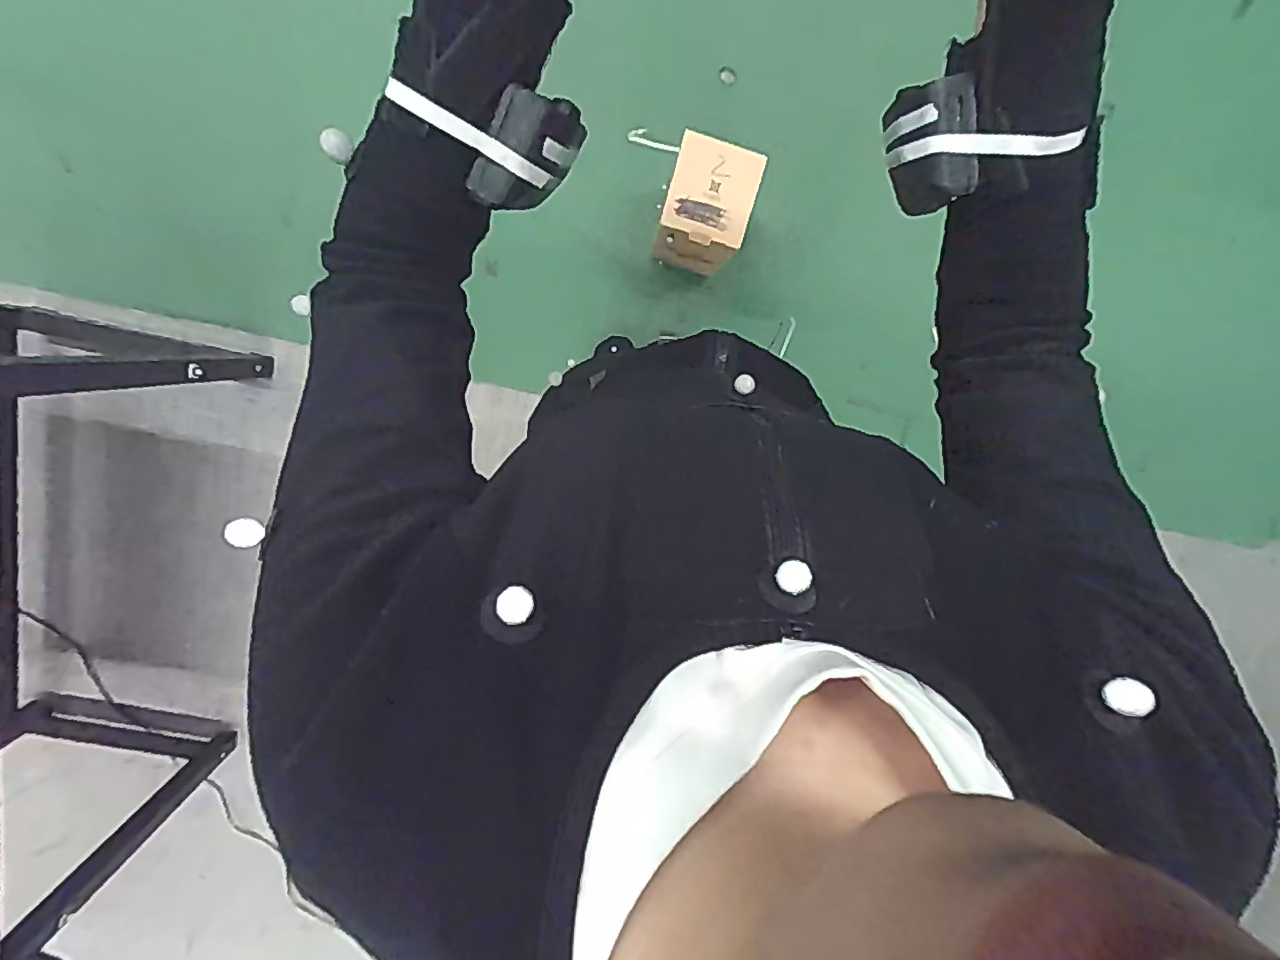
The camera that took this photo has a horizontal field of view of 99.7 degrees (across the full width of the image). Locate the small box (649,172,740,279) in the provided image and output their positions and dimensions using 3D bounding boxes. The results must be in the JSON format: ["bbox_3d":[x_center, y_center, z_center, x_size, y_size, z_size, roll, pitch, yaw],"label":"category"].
[{"bbox_3d":[0.120,-0.587,1.272,0.168,0.176,0.179,13,102,-6],"label":"small box"}]
